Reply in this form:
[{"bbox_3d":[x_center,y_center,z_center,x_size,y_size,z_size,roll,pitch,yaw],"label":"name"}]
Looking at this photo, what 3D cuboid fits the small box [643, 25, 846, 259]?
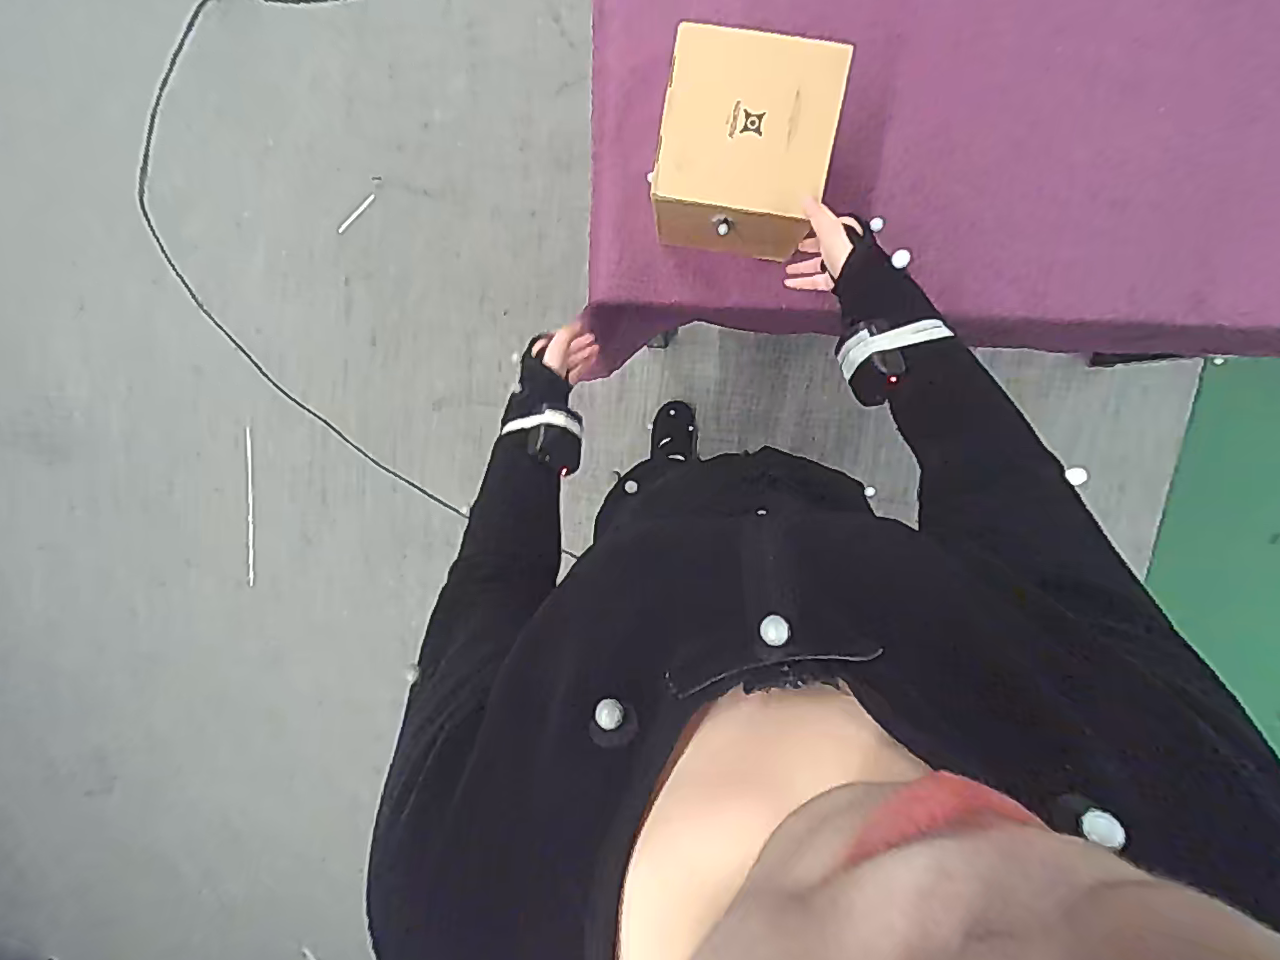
[{"bbox_3d":[0.109,-0.369,0.623,0.179,0.176,0.168,11,99,3],"label":"small box"}]
